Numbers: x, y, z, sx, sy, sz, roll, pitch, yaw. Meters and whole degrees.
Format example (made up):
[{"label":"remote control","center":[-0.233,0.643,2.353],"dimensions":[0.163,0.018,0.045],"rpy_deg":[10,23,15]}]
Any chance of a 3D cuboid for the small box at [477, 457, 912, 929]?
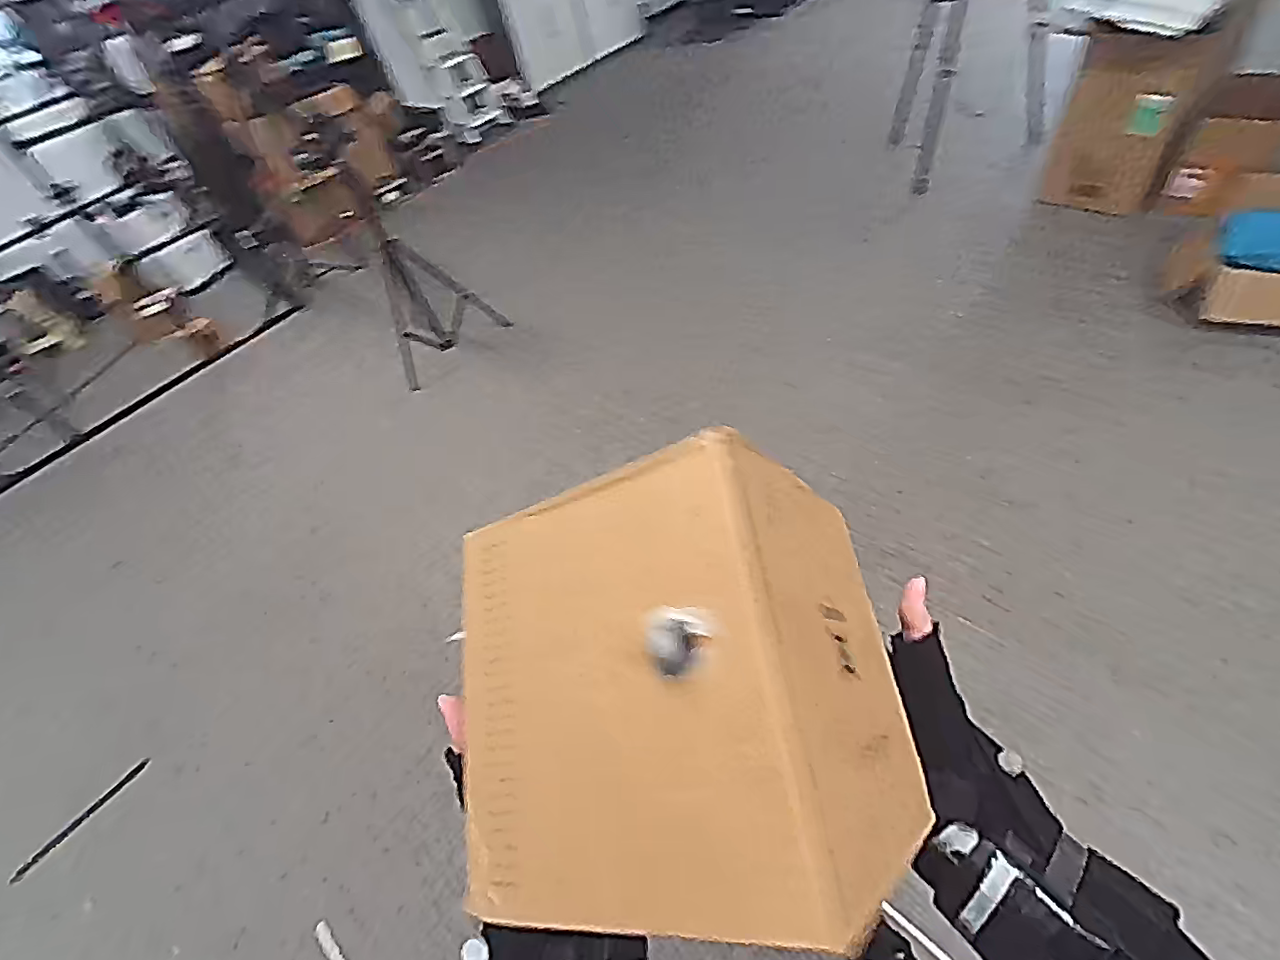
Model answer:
[{"label":"small box","center":[0.026,0.115,0.302],"dimensions":[0.176,0.168,0.179],"rpy_deg":[-22,63,26]}]
